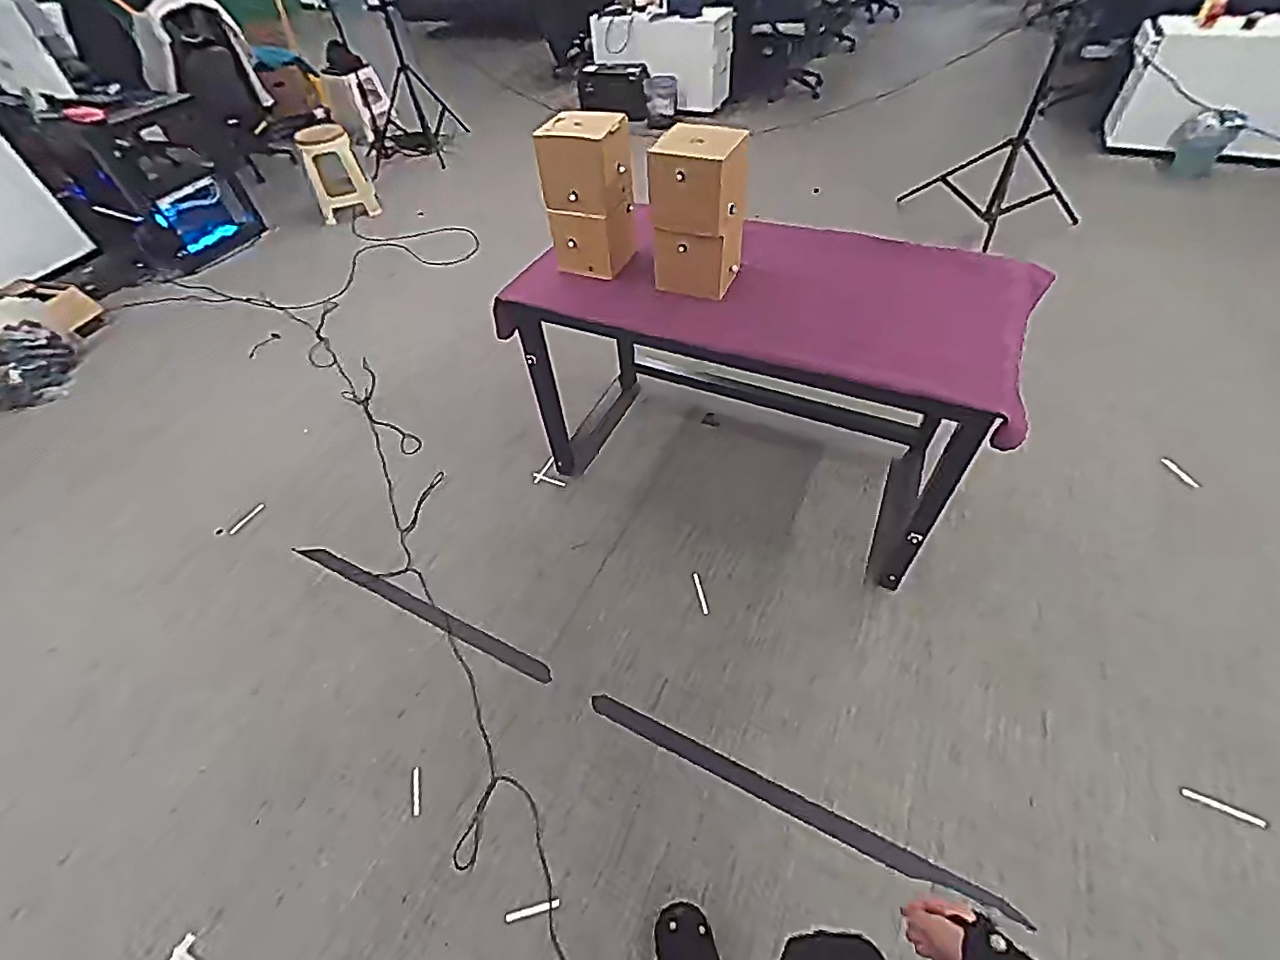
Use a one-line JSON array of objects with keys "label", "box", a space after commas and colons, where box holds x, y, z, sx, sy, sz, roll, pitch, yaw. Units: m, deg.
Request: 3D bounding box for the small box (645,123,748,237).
[{"label": "small box", "box": [0.127, -0.671, 1.214, 0.179, 0.176, 0.168, 20, 56, 18]}]

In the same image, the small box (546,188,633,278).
[{"label": "small box", "box": [-0.124, -0.661, 1.438, 0.168, 0.176, 0.179, 15, 53, 17]}]

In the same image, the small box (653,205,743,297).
[{"label": "small box", "box": [0.143, -0.578, 1.346, 0.179, 0.176, 0.168, 17, 54, 17]}]

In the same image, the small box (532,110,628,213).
[{"label": "small box", "box": [-0.136, -0.773, 1.318, 0.179, 0.176, 0.168, 14, 52, 15]}]
